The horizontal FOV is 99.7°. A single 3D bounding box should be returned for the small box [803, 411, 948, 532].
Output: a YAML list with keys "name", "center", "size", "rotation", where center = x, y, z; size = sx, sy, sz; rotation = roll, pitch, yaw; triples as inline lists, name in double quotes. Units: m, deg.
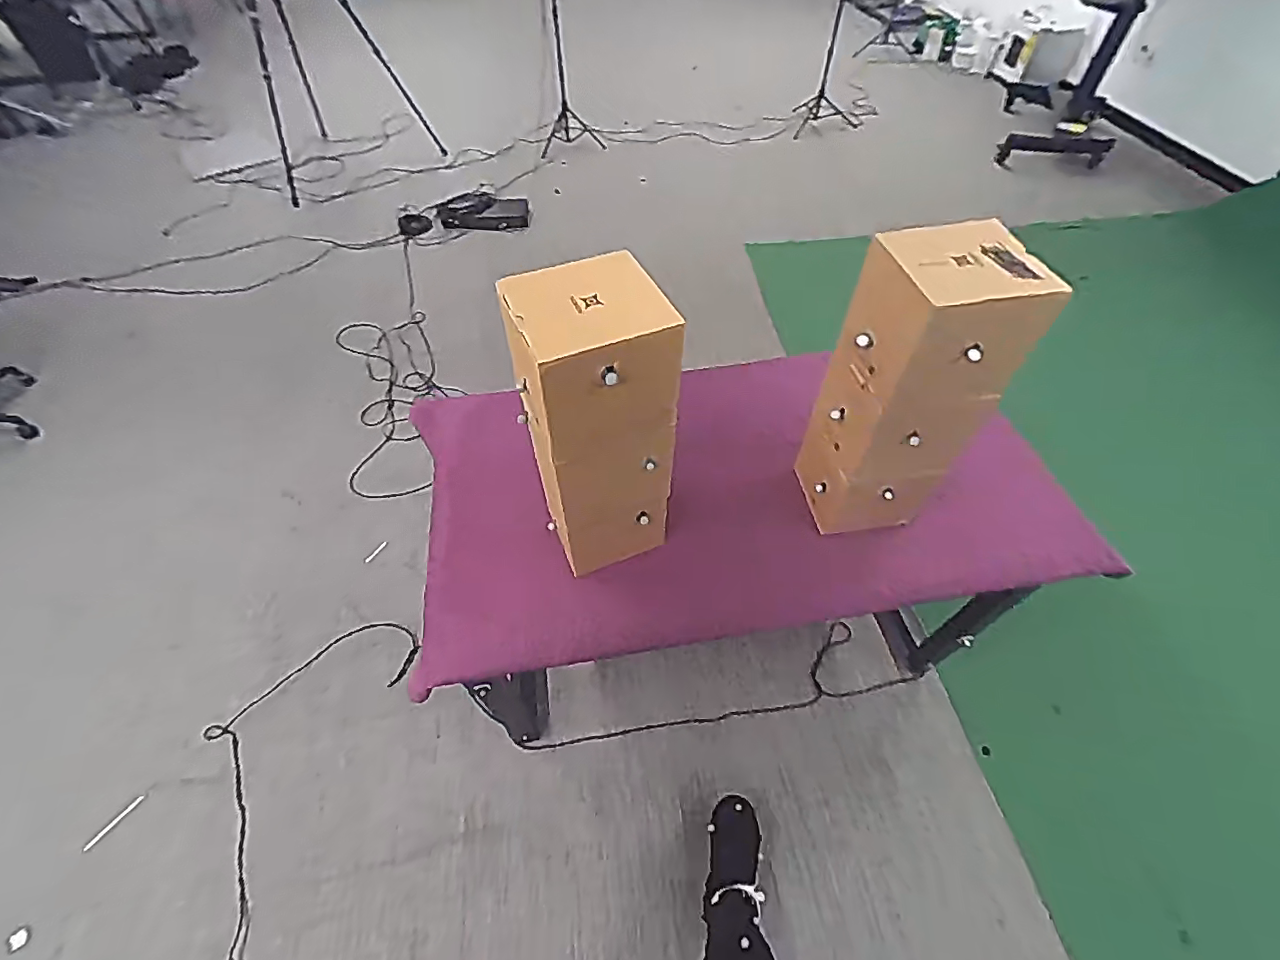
- name: "small box"
  center: [0.409, -0.018, 0.985]
  size: [0.179, 0.176, 0.168]
  rotation: [-6, 54, -4]

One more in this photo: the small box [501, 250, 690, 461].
- name: "small box"
  center: [-0.056, -0.153, 0.679]
  size: [0.179, 0.176, 0.168]
  rotation: [-20, 57, -14]

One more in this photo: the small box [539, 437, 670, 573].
- name: "small box"
  center: [-0.062, 0.035, 0.946]
  size: [0.179, 0.176, 0.168]
  rotation: [-19, 55, -13]

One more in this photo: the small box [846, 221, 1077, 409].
- name: "small box"
  center: [0.408, -0.216, 0.724]
  size: [0.179, 0.176, 0.168]
  rotation: [-9, 54, -5]

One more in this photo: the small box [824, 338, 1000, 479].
- name: "small box"
  center: [0.408, -0.117, 0.855]
  size: [0.179, 0.176, 0.168]
  rotation: [-8, 55, -4]
